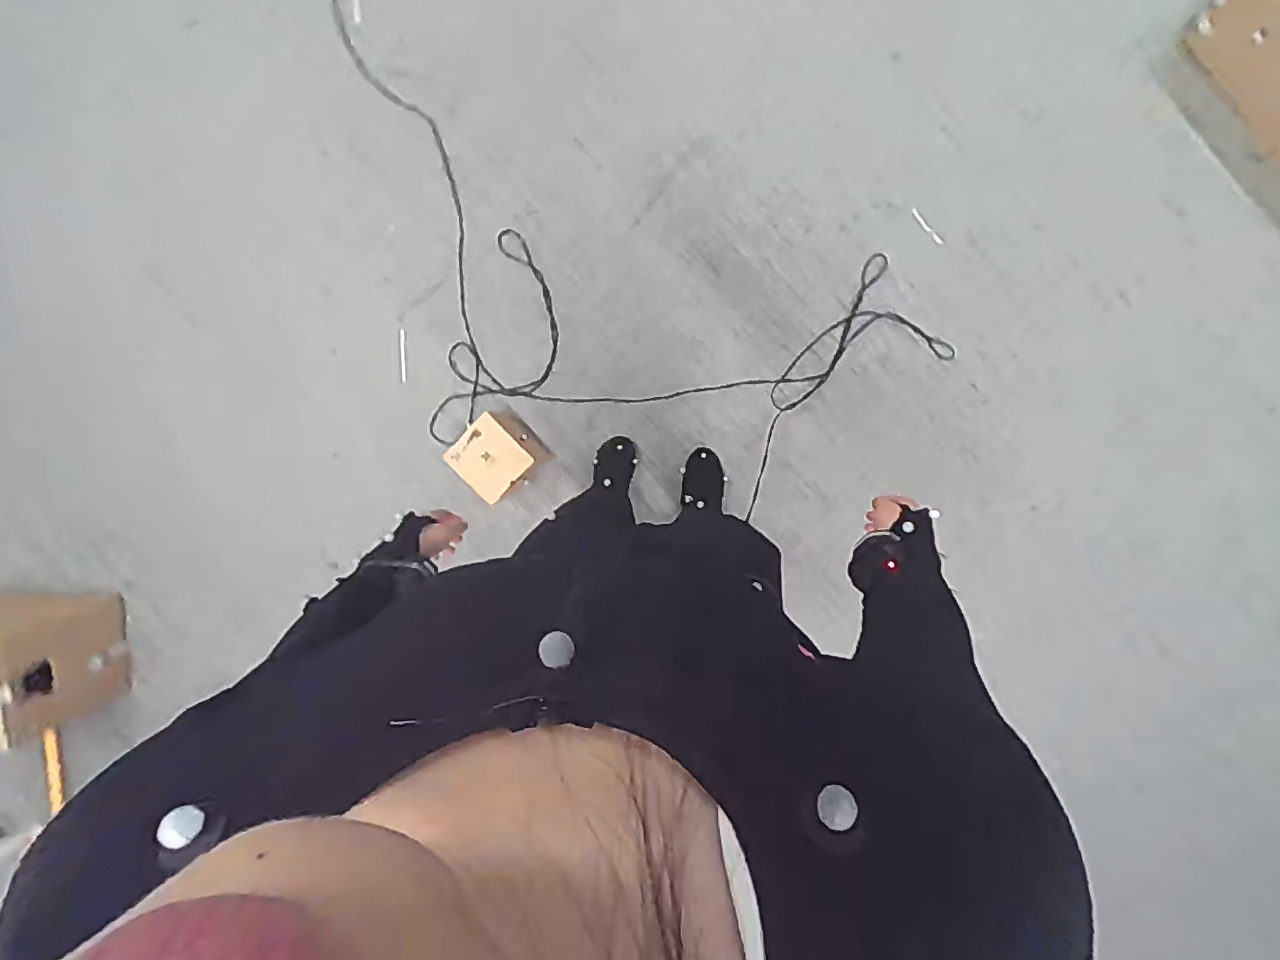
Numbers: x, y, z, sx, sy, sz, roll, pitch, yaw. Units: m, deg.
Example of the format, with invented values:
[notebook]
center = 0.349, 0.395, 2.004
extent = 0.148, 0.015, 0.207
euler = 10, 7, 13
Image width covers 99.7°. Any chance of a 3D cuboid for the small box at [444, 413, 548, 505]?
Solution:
[small box]
center = -0.365, -0.064, 1.413
extent = 0.179, 0.176, 0.168
euler = 45, 98, -3
